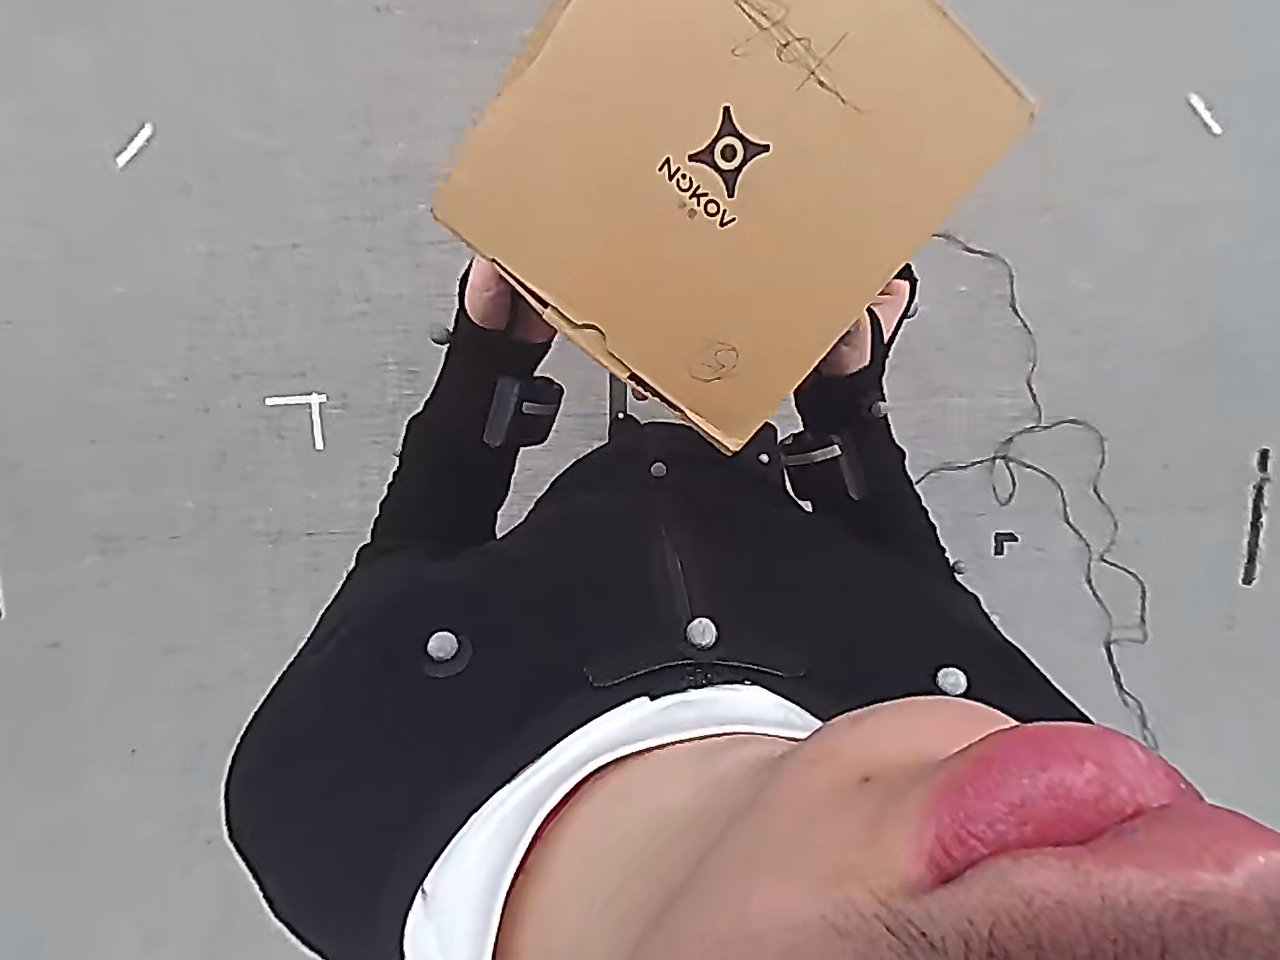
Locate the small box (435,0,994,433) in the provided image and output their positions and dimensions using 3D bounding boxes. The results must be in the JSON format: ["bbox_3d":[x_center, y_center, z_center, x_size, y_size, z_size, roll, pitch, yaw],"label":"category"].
[{"bbox_3d":[0.029,-0.155,0.298,0.168,0.176,0.179,36,104,-10],"label":"small box"}]
